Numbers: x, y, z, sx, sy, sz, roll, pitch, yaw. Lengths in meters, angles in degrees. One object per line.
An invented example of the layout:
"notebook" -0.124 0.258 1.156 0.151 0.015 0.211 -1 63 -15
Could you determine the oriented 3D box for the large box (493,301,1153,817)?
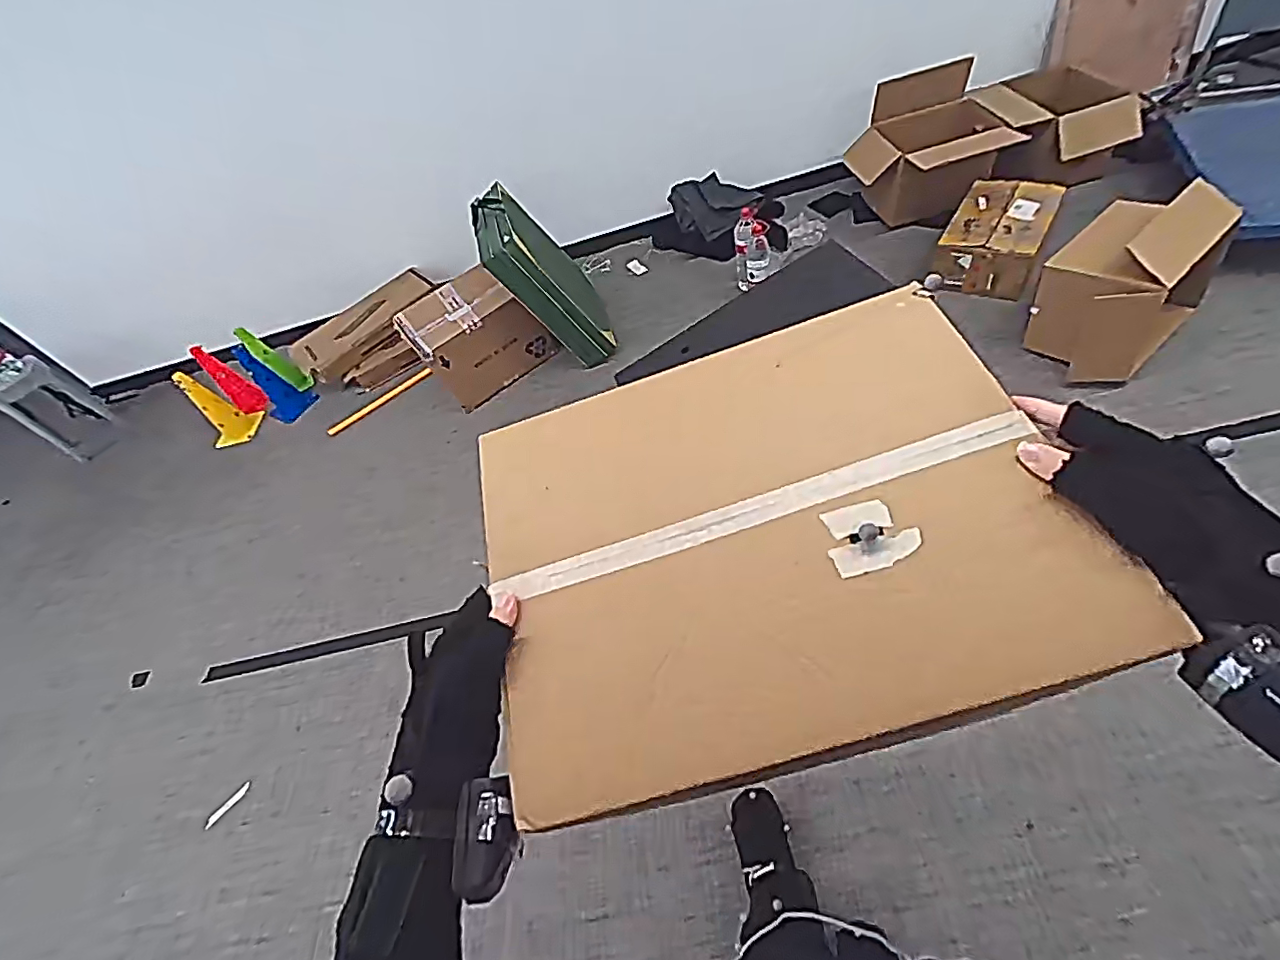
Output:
"large box" 0.117 0.100 0.536 0.408 0.320 0.320 -19 59 4
